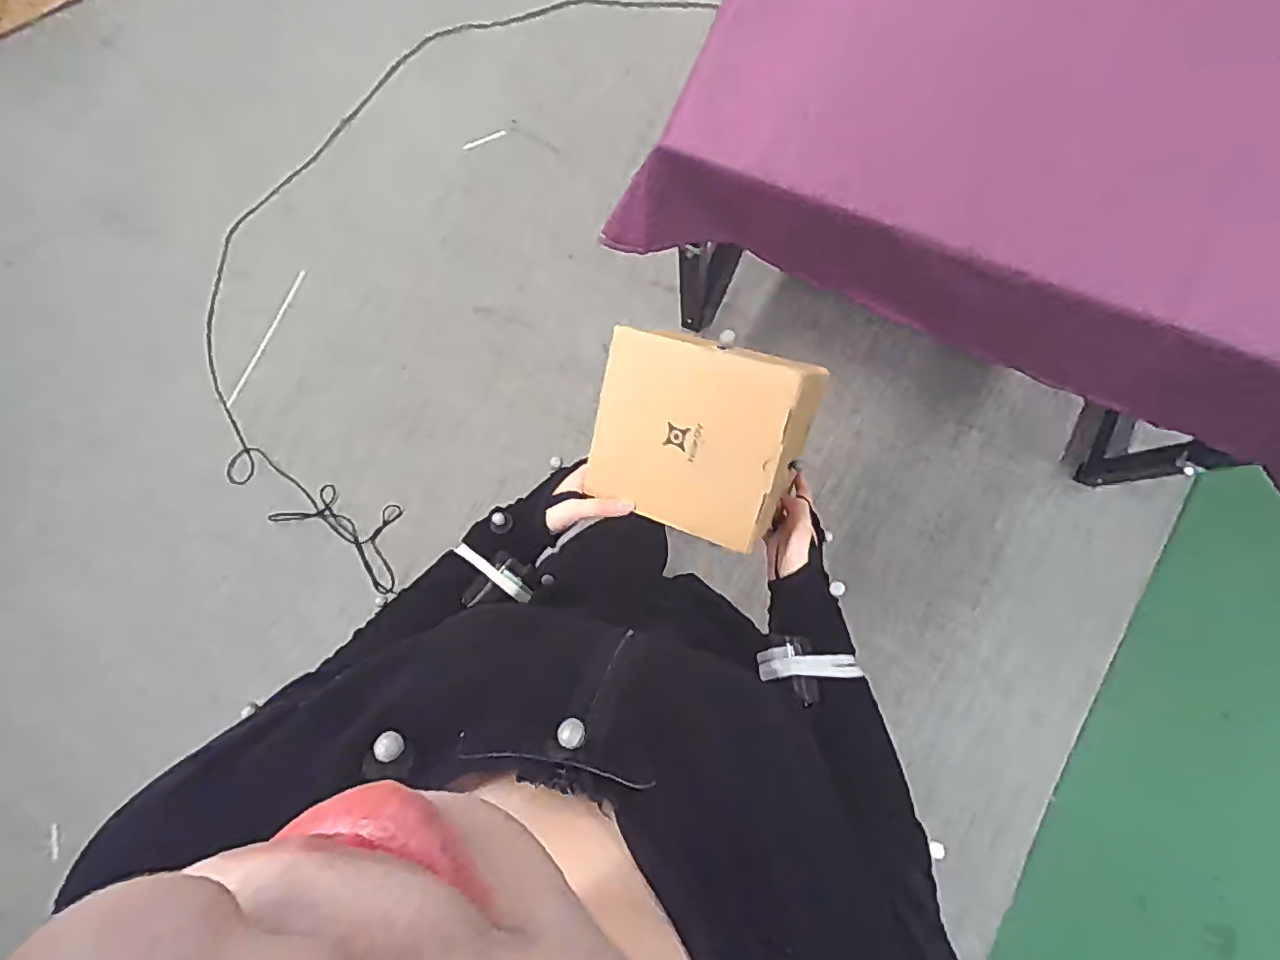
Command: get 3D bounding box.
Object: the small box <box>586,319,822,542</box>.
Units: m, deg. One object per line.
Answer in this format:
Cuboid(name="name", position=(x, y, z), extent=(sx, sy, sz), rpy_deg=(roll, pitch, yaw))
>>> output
Cuboid(name="small box", position=(0.072, -0.059, 0.559), extent=(0.179, 0.176, 0.168), rpy_deg=(19, 108, 20))
